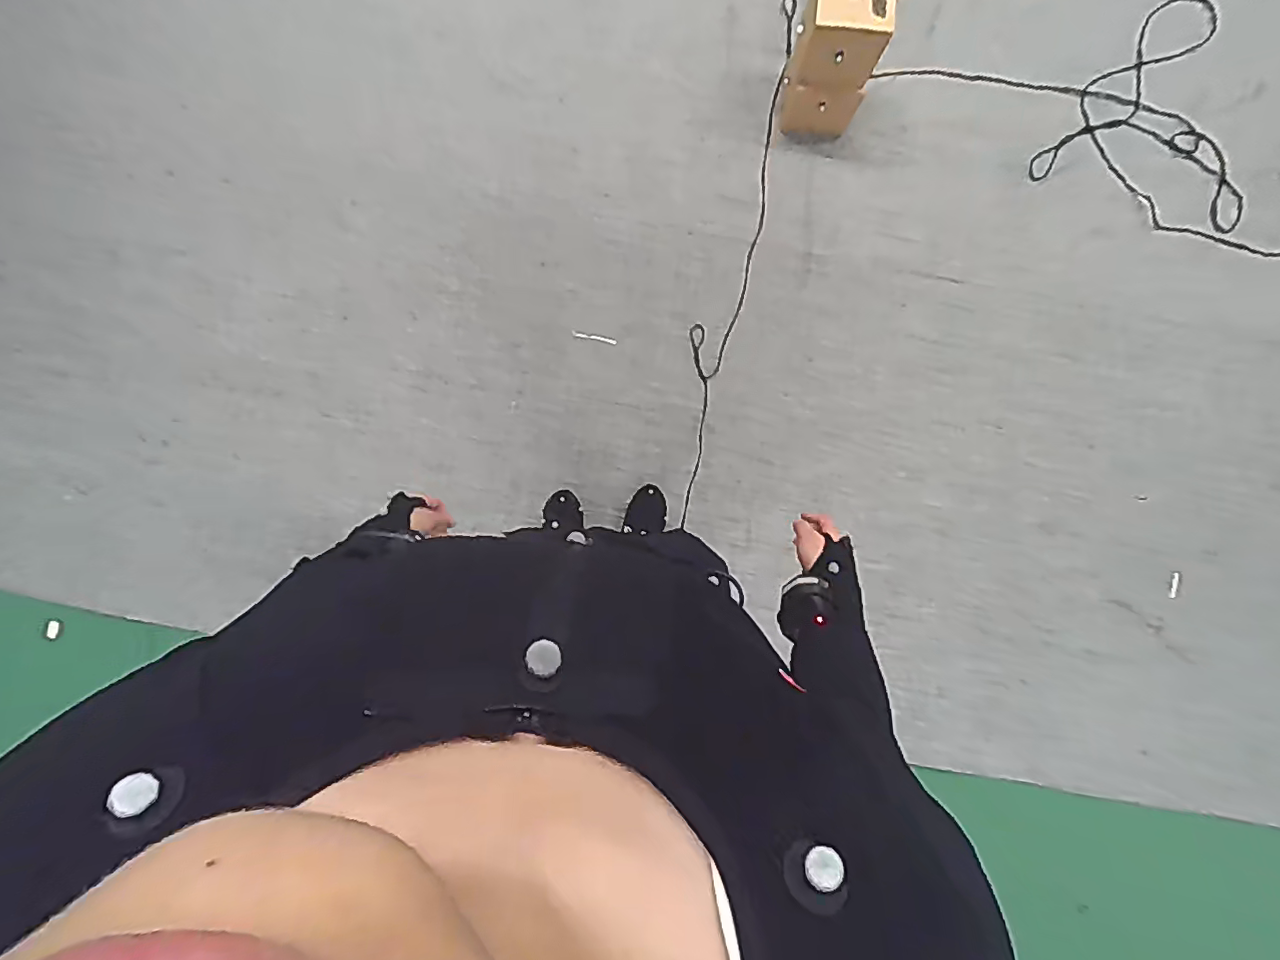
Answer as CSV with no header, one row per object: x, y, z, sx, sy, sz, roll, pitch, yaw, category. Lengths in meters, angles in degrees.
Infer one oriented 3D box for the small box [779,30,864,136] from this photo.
0.469,-1.036,1.417,0.179,0.176,0.168,3,90,0,small box

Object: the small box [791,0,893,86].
0.466,-1.057,1.253,0.179,0.176,0.168,6,88,1,small box
